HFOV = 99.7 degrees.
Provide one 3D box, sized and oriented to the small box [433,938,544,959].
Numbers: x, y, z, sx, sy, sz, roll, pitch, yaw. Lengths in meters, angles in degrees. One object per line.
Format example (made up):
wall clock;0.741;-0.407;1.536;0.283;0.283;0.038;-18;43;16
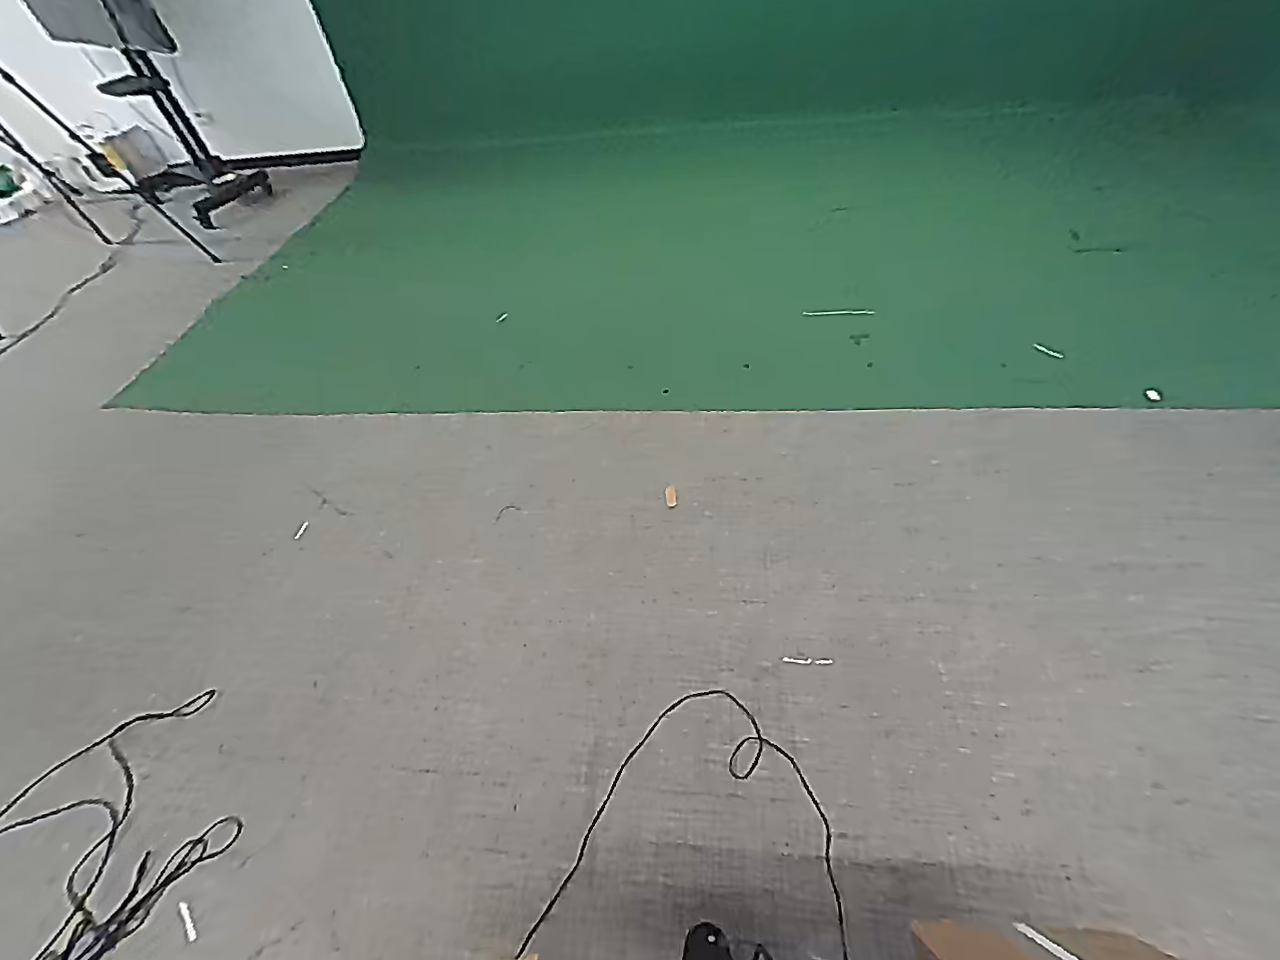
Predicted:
small box;-0.201;0.695;0.629;0.168;0.179;0.176;-13;79;-1
